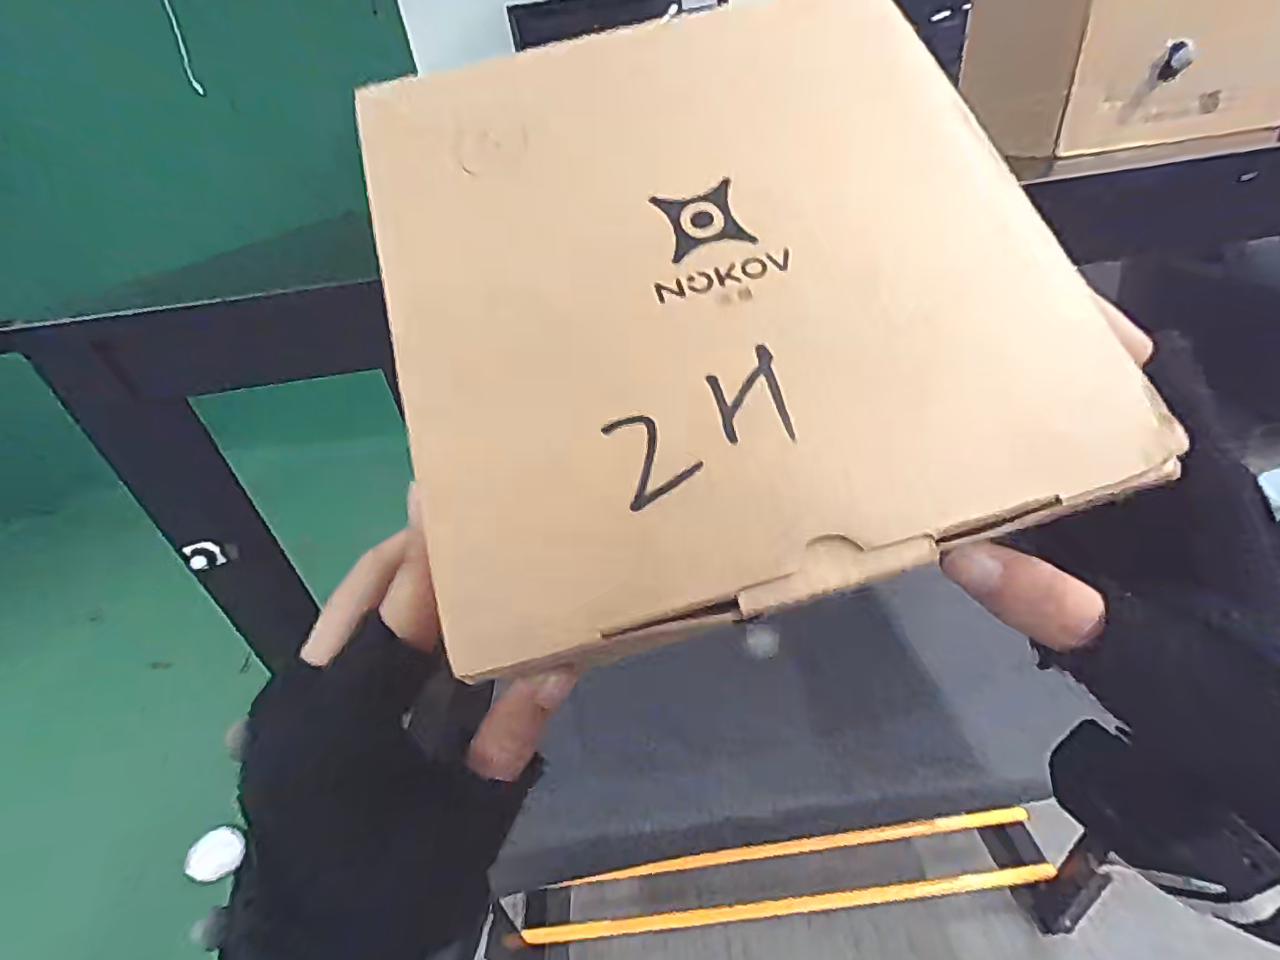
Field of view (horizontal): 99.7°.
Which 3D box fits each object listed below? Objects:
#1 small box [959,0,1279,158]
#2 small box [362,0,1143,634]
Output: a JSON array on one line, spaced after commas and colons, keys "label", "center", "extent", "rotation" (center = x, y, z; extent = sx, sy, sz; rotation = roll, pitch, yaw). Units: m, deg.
[{"label": "small box", "center": [0.388, -0.371, 0.445], "extent": [0.168, 0.176, 0.179], "rotation": [-6, 33, 4]}, {"label": "small box", "center": [0.017, -0.047, 0.220], "extent": [0.168, 0.176, 0.179], "rotation": [-15, 72, -3]}]
